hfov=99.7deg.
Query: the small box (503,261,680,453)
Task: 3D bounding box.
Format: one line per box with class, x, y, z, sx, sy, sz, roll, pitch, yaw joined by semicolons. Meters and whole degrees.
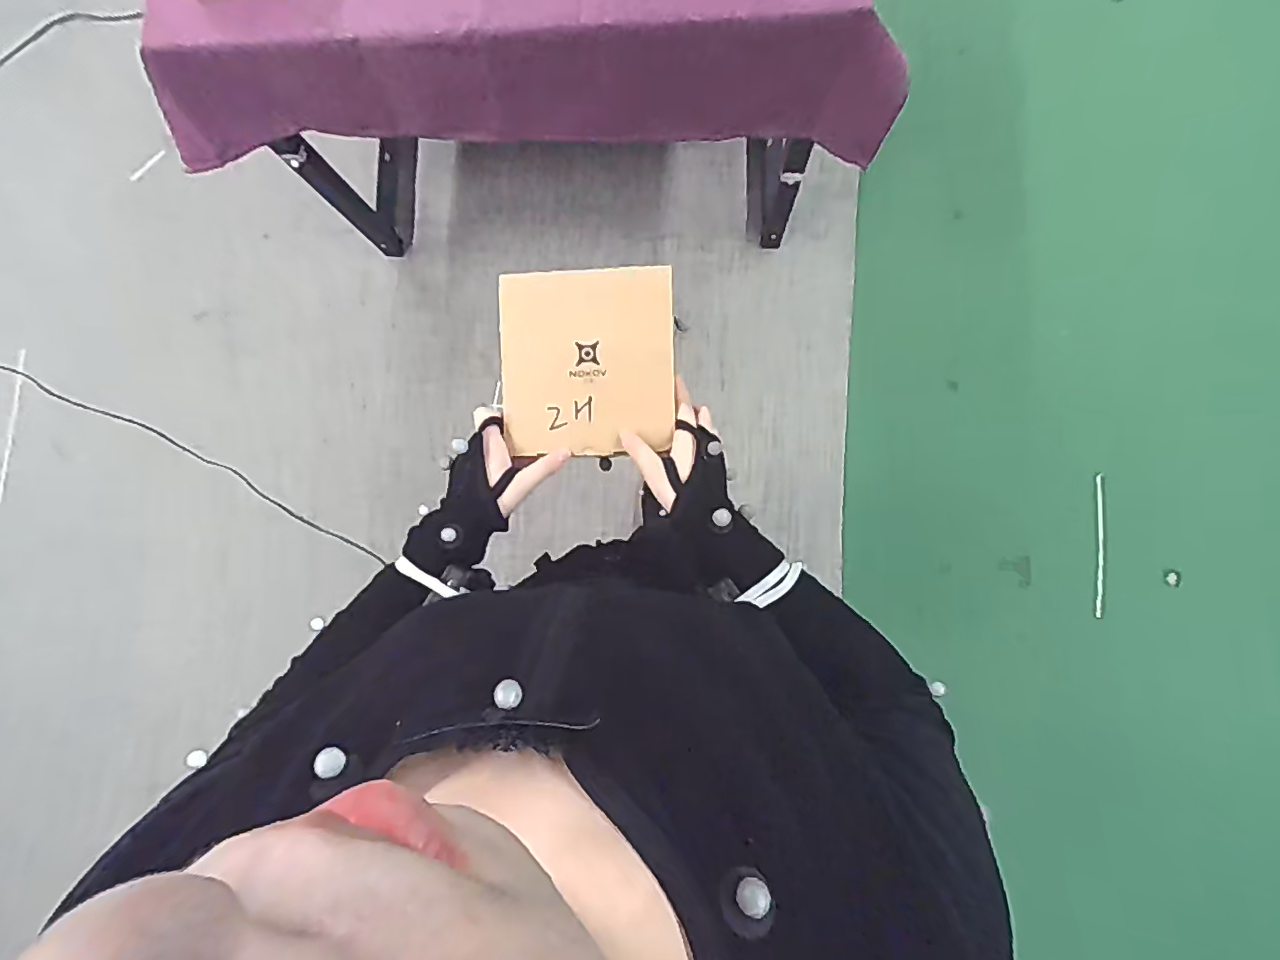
small box;-0.042;-0.118;0.586;0.168;0.176;0.179;-1;93;5
